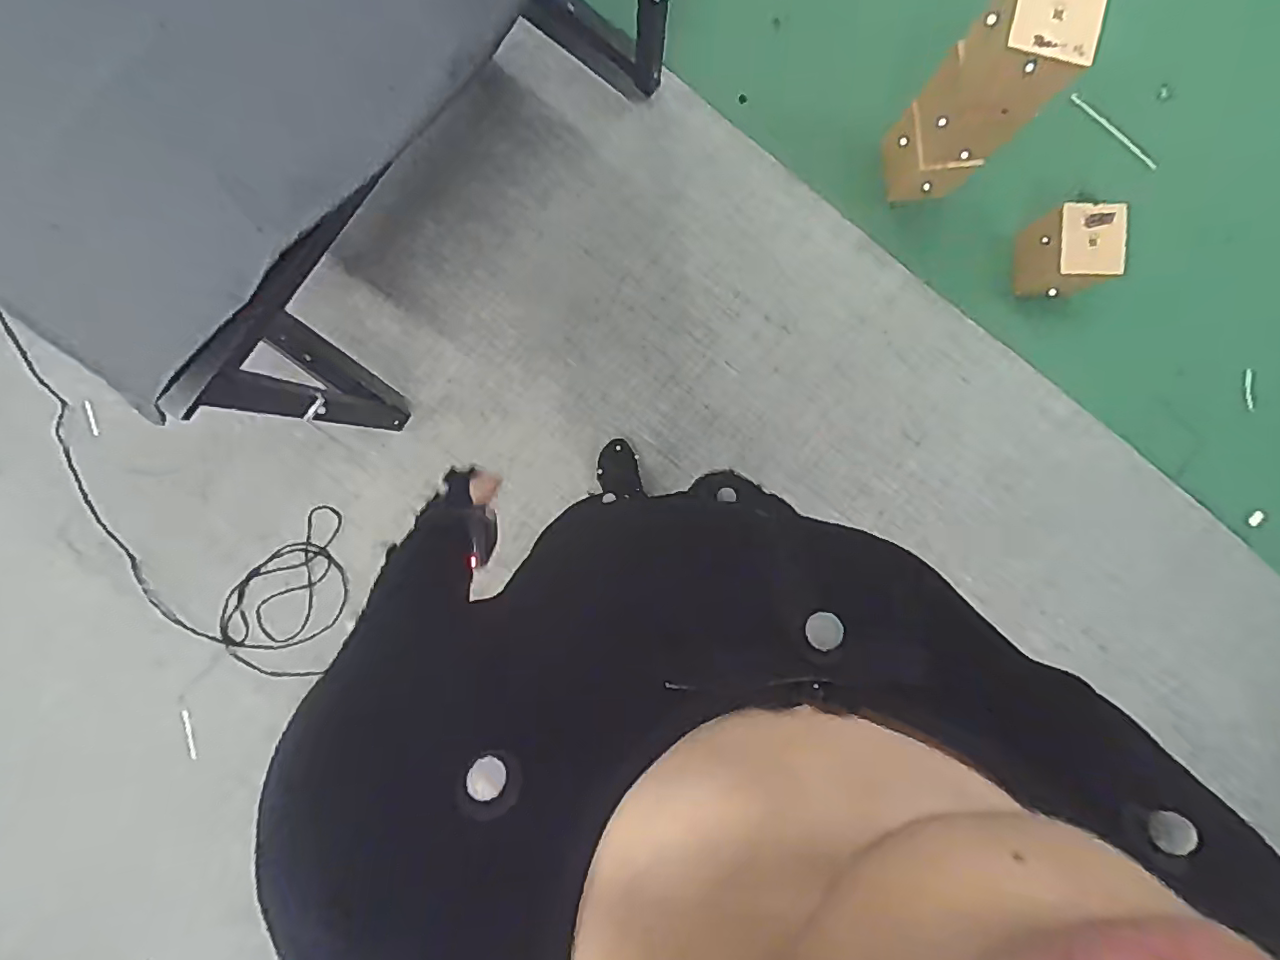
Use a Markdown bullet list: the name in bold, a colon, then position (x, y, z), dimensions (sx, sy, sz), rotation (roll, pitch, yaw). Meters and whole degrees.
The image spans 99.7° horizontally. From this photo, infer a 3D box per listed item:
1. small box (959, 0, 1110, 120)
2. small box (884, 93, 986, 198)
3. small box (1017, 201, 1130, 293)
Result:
- **small box**: position (0.766, -0.861, 1.063), dimensions (0.168, 0.176, 0.179), rotation (12, 91, -2)
- **small box**: position (0.753, -0.851, 1.392), dimensions (0.168, 0.176, 0.179), rotation (-7, 92, -1)
- **small box**: position (1.121, -0.601, 1.409), dimensions (0.168, 0.176, 0.179), rotation (-1, 93, -2)
